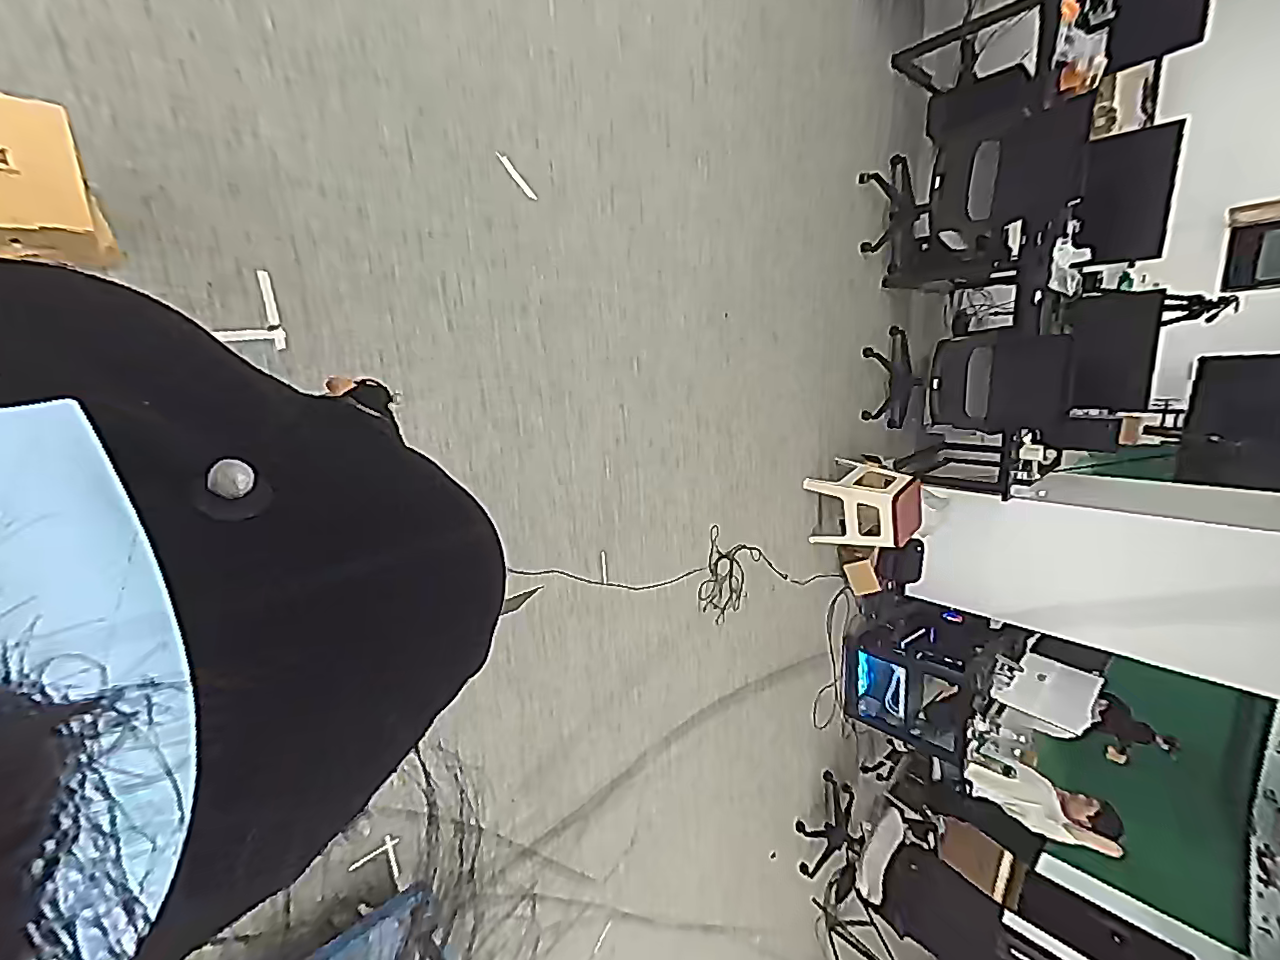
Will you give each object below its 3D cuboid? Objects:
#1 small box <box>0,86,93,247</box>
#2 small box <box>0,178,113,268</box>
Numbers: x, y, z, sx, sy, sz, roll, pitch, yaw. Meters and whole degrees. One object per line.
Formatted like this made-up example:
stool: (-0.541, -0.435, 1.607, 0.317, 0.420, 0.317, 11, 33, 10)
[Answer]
small box: (-0.947, -0.462, 0.802, 0.168, 0.176, 0.179, -14, 107, -41)
small box: (-1.053, -0.478, 0.926, 0.168, 0.176, 0.179, -28, 116, -36)
